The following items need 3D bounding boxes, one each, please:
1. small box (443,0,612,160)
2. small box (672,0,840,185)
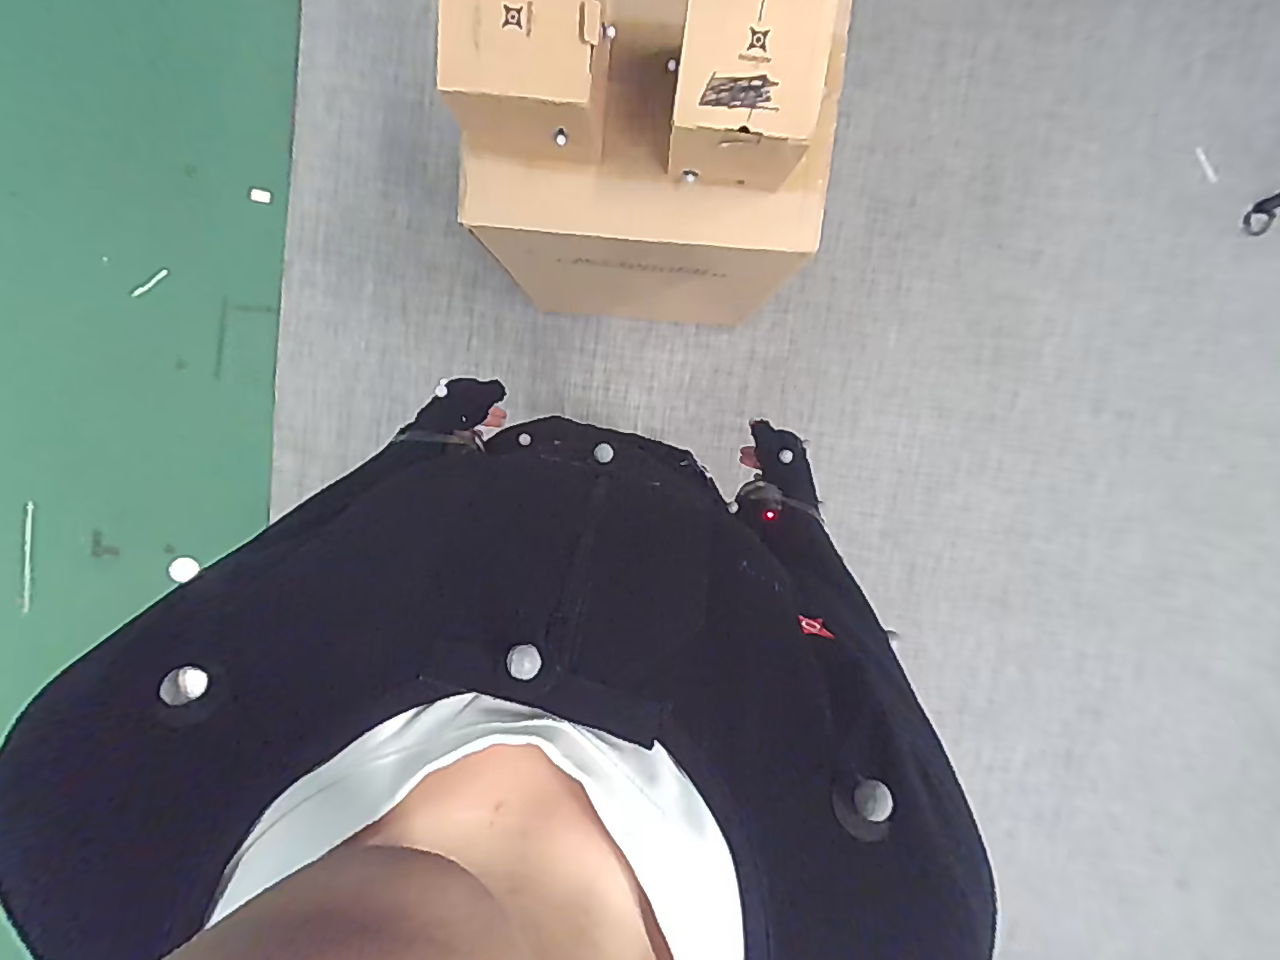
[{"bbox_3d":[-0.131,-0.529,0.684,0.179,0.176,0.168,5,99,2],"label":"small box"},{"bbox_3d":[0.133,-0.496,0.679,0.168,0.176,0.179,8,100,0],"label":"small box"}]
